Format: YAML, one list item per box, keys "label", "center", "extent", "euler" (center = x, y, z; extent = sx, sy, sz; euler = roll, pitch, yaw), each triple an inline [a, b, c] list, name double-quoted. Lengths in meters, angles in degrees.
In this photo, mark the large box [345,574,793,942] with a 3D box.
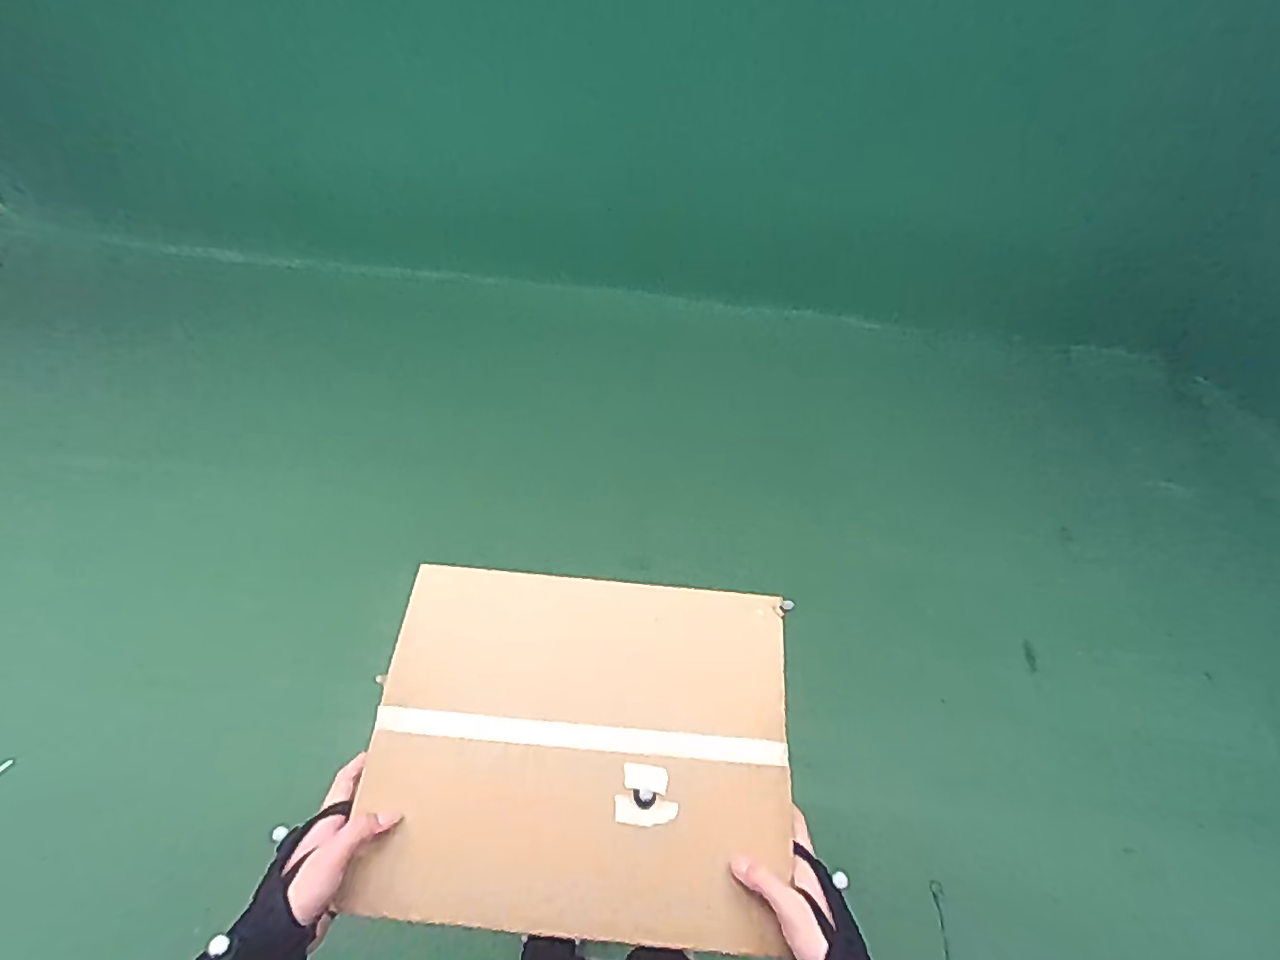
- label: "large box"
  center: [-0.061, 0.323, 0.671]
  extent: [0.408, 0.320, 0.320]
  euler: [5, 64, 0]
